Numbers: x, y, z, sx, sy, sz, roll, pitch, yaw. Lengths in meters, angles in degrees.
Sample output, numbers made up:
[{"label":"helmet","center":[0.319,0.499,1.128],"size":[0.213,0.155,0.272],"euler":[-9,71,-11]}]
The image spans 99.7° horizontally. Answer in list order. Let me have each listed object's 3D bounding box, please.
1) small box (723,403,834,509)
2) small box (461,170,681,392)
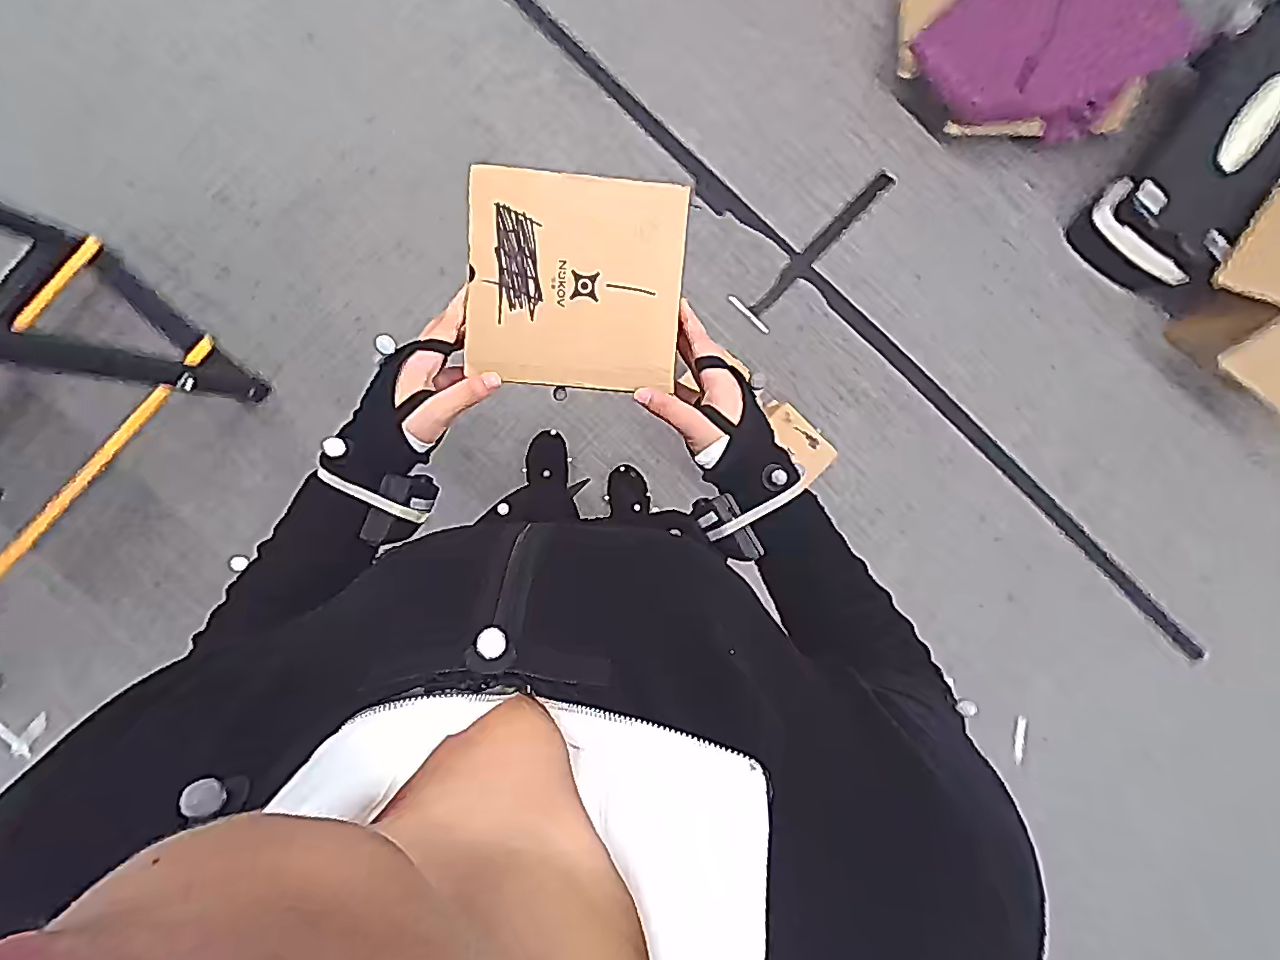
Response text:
[{"label":"small box","center":[0.309,-0.054,1.257],"size":[0.168,0.176,0.179],"euler":[45,92,-3]},{"label":"small box","center":[-0.059,-0.174,0.524],"size":[0.179,0.176,0.168],"euler":[4,99,-2]}]
